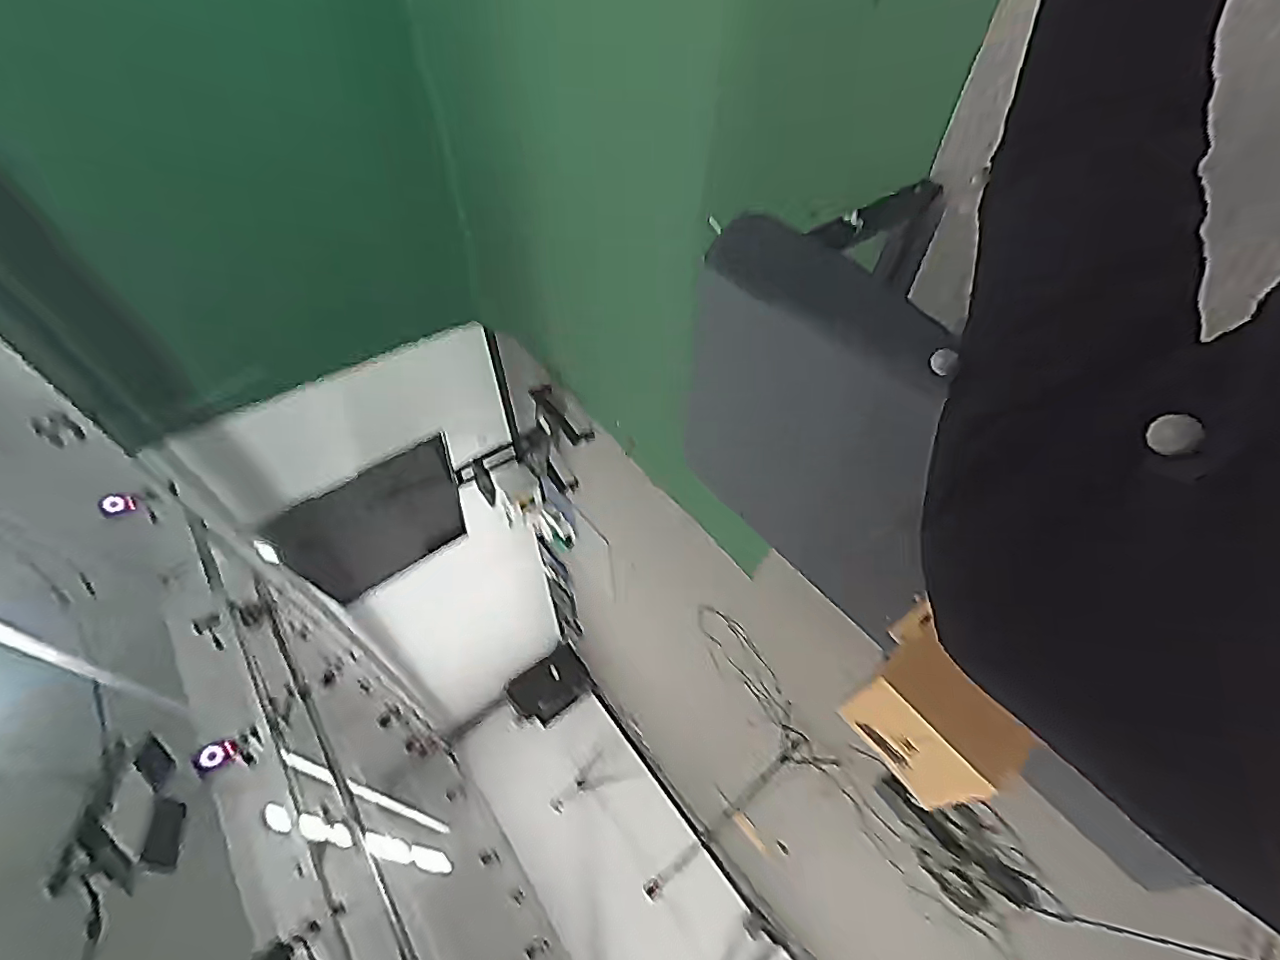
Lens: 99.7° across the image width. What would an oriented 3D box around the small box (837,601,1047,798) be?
[{"bbox_3d":[0.415,0.305,0.759,0.168,0.176,0.179,45,156,29],"label":"small box"}]
